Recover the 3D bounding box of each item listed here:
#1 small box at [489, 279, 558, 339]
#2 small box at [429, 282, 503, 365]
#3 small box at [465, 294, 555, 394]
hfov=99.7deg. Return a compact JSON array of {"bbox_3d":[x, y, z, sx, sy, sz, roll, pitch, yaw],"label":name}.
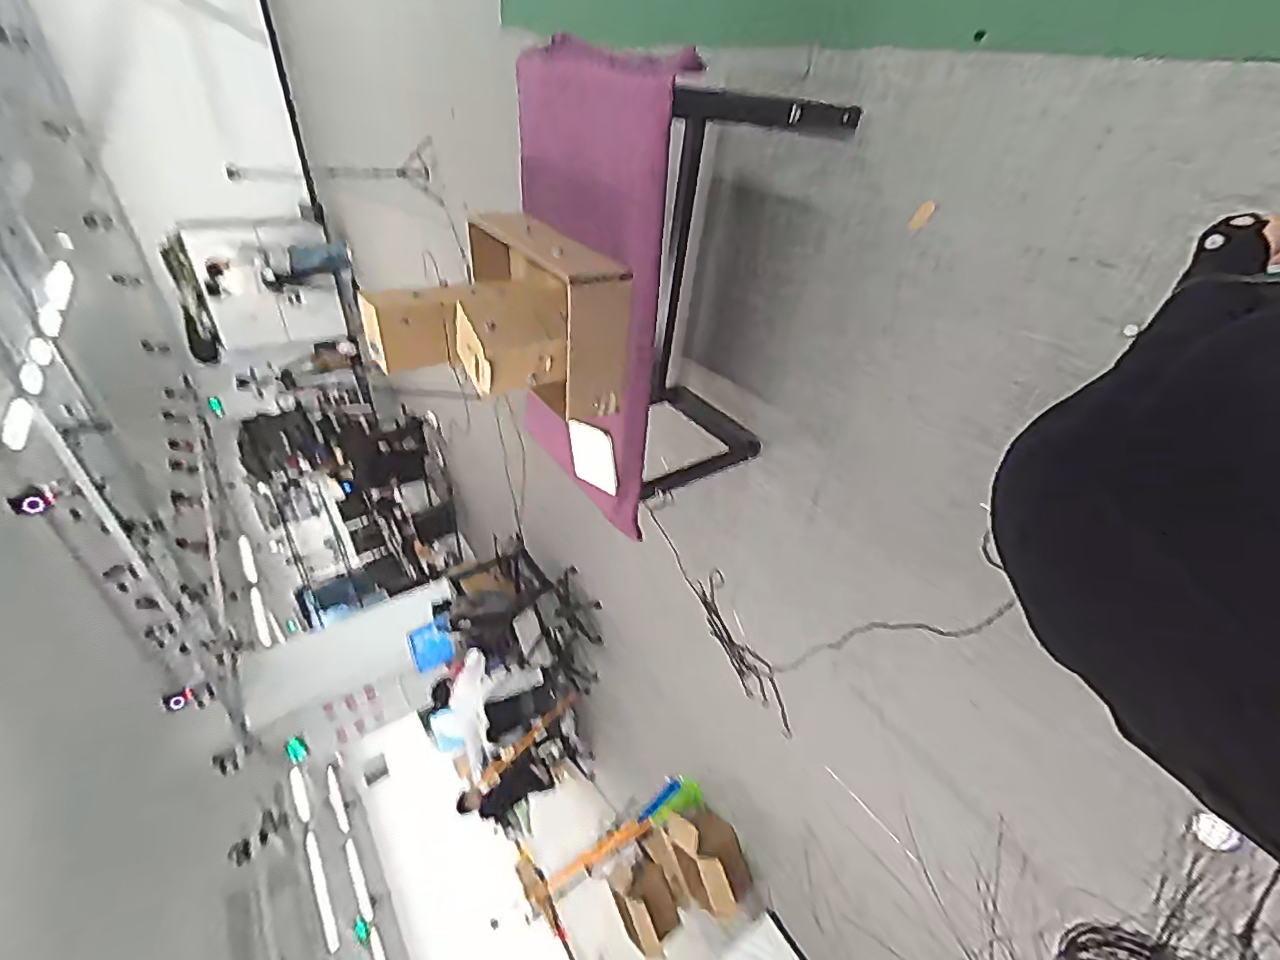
[{"bbox_3d":[-0.364,-0.506,1.658,0.179,0.176,0.168,42,139,36],"label":"small box"},{"bbox_3d":[-0.491,-0.459,1.569,0.168,0.176,0.179,40,138,38],"label":"small box"},{"bbox_3d":[-0.330,-0.348,1.364,0.179,0.176,0.168,59,149,21],"label":"small box"}]
